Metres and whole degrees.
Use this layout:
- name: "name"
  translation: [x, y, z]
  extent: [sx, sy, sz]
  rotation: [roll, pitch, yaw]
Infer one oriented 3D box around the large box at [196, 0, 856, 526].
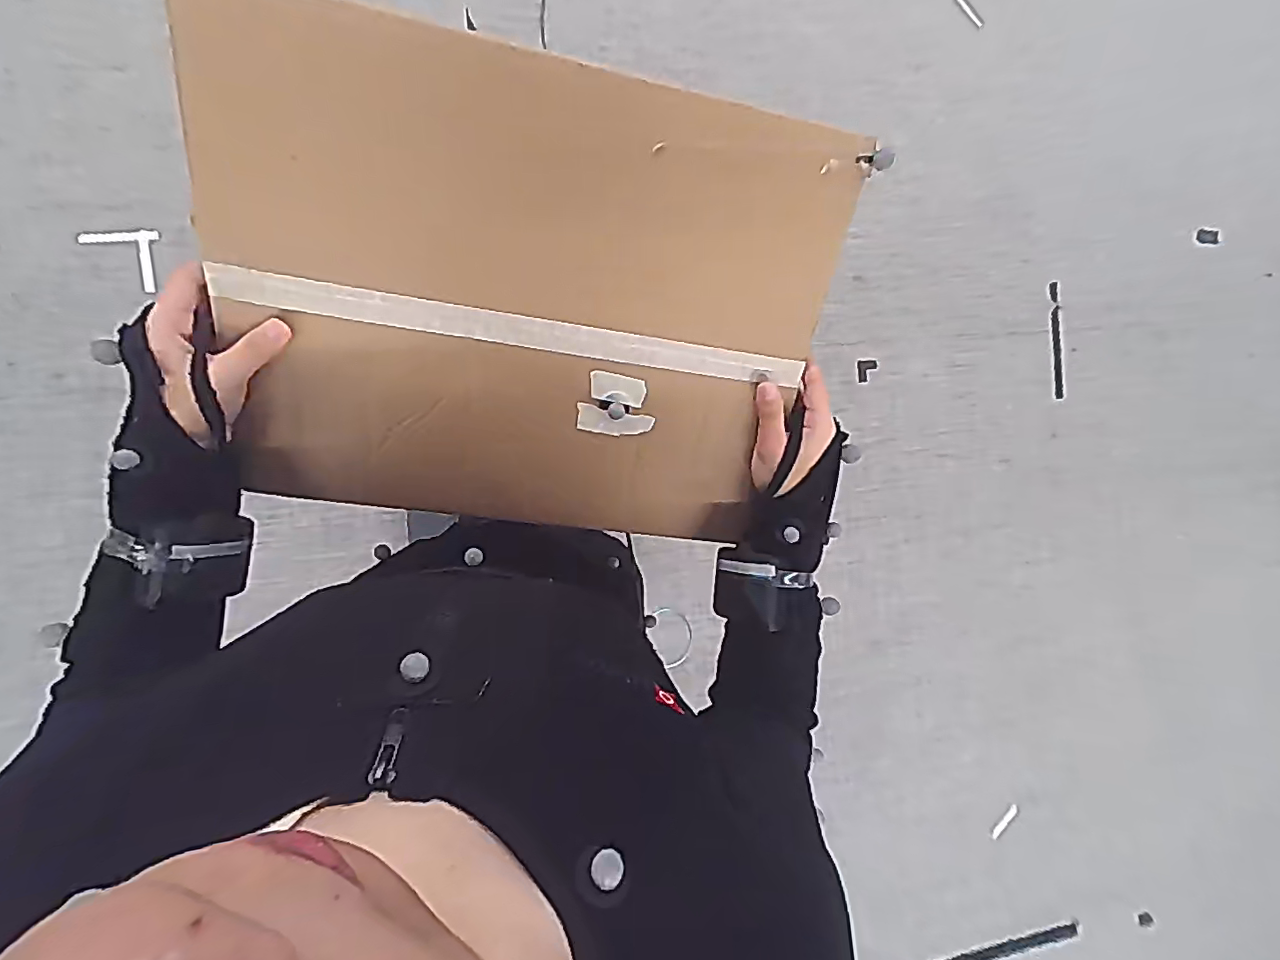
- name: "large box"
  translation: [-0.092, -0.177, 0.522]
  extent: [0.408, 0.320, 0.320]
  rotation: [6, 117, -11]
